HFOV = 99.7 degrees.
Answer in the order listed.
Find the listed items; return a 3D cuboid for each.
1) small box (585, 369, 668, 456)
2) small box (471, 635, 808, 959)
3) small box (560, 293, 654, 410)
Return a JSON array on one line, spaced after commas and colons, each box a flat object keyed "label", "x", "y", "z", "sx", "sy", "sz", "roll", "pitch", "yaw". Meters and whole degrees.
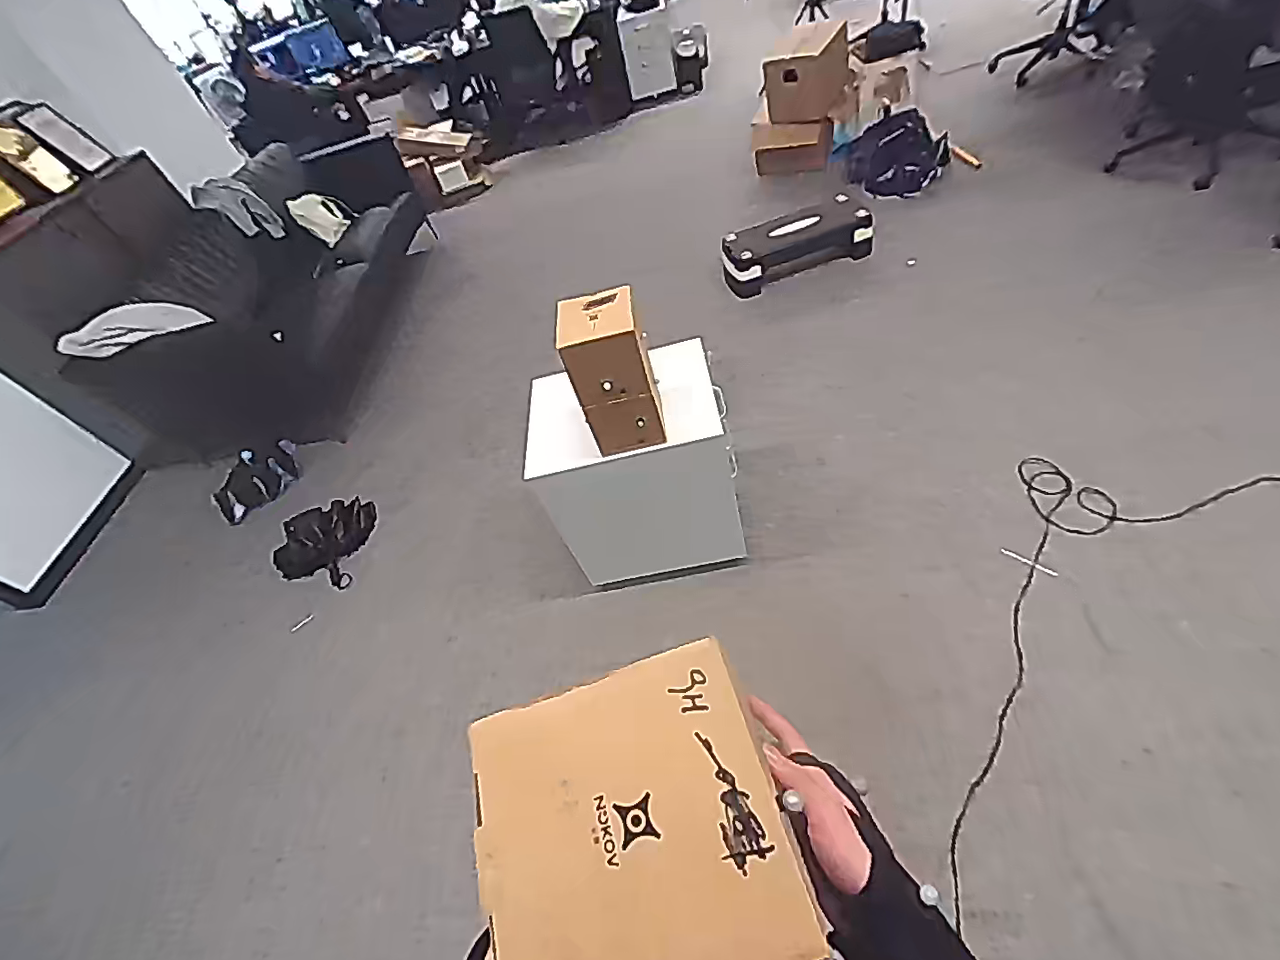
[{"label": "small box", "x": -0.032, "y": -0.176, "z": 1.321, "sx": 0.168, "sy": 0.176, "sz": 0.179, "roll": -12, "pitch": 46, "yaw": 7}, {"label": "small box", "x": 0.006, "y": 0.231, "z": 0.383, "sx": 0.179, "sy": 0.176, "sz": 0.168, "roll": -21, "pitch": 59, "yaw": 5}, {"label": "small box", "x": -0.069, "y": -0.283, "z": 1.202, "sx": 0.168, "sy": 0.176, "sz": 0.179, "roll": -11, "pitch": 48, "yaw": 8}]
